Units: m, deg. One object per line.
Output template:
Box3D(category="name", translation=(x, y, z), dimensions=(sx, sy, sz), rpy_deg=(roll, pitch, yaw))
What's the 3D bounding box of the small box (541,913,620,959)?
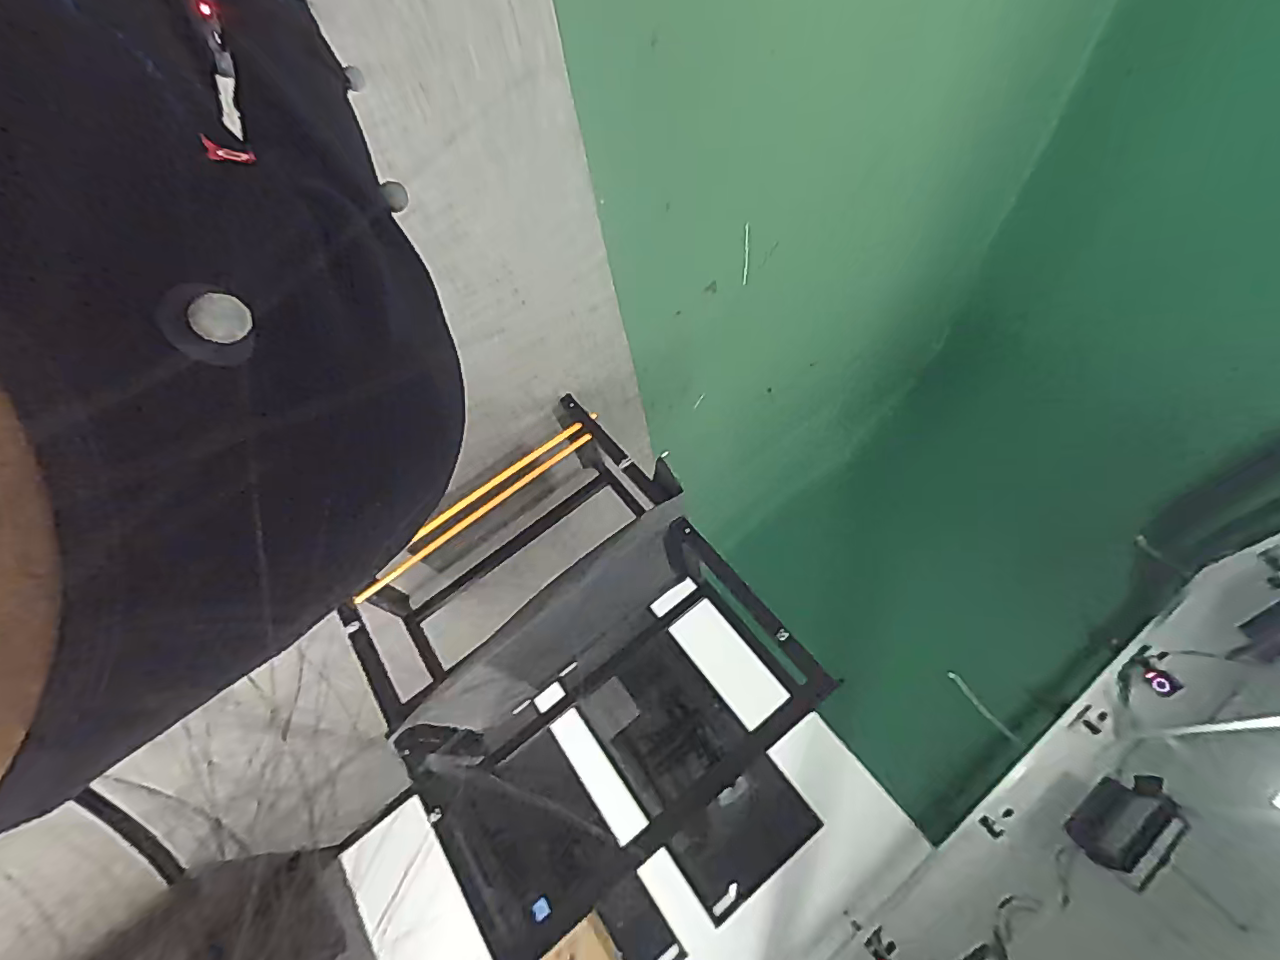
Box3D(category="small box", translation=(-0.154, 1.323, 1.467), dimensions=(0.168, 0.176, 0.179), rpy_deg=(-34, 151, -18))
